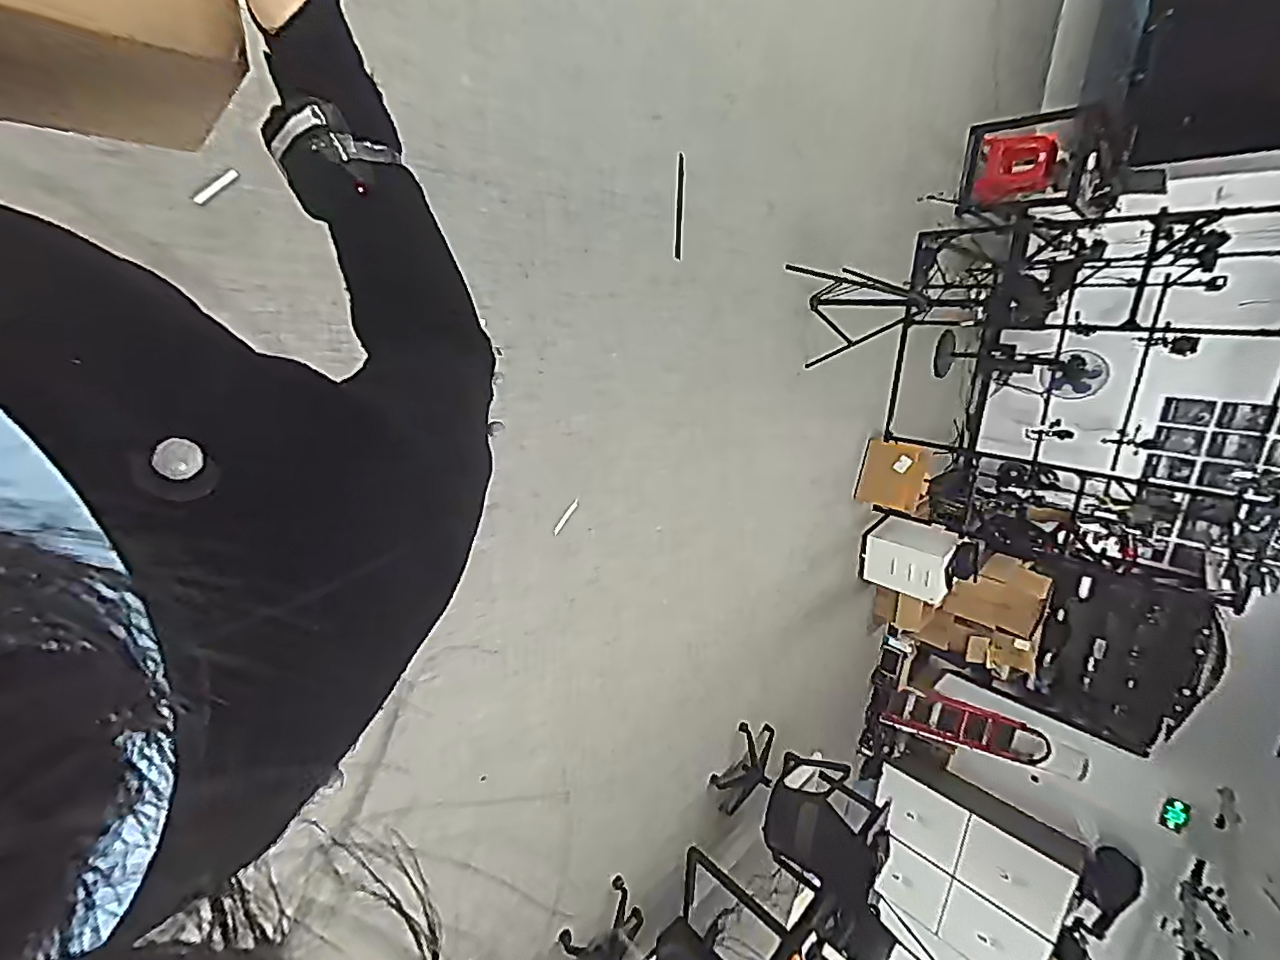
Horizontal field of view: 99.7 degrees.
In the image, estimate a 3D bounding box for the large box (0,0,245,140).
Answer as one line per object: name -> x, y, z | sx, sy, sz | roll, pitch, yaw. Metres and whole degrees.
large box -> -0.531, -0.443, 0.326 | 0.408, 0.320, 0.320 | -14, 112, -41
